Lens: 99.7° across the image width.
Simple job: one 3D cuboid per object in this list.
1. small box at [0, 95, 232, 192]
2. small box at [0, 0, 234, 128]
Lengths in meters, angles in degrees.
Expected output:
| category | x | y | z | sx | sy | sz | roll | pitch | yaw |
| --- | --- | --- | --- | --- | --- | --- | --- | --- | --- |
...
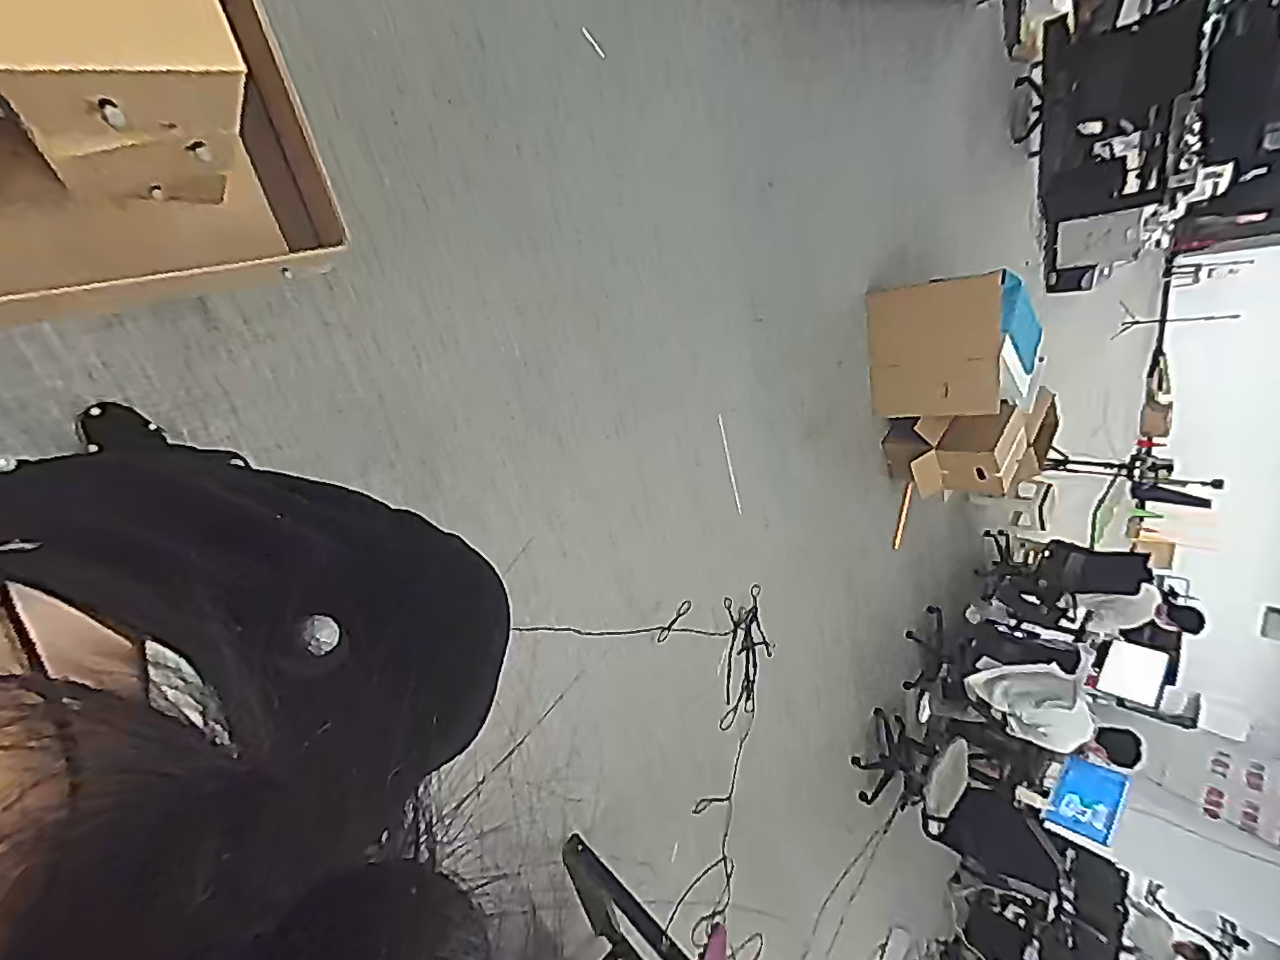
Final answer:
| category | x | y | z | sx | sy | sz | roll | pitch | yaw |
| --- | --- | --- | --- | --- | --- | --- | --- | --- | --- |
| small box | -0.577 | -0.429 | 0.569 | 0.179 | 0.176 | 0.168 | -36 | 119 | -28 |
| small box | -0.470 | -0.413 | 0.448 | 0.168 | 0.176 | 0.179 | -28 | 115 | -32 |
